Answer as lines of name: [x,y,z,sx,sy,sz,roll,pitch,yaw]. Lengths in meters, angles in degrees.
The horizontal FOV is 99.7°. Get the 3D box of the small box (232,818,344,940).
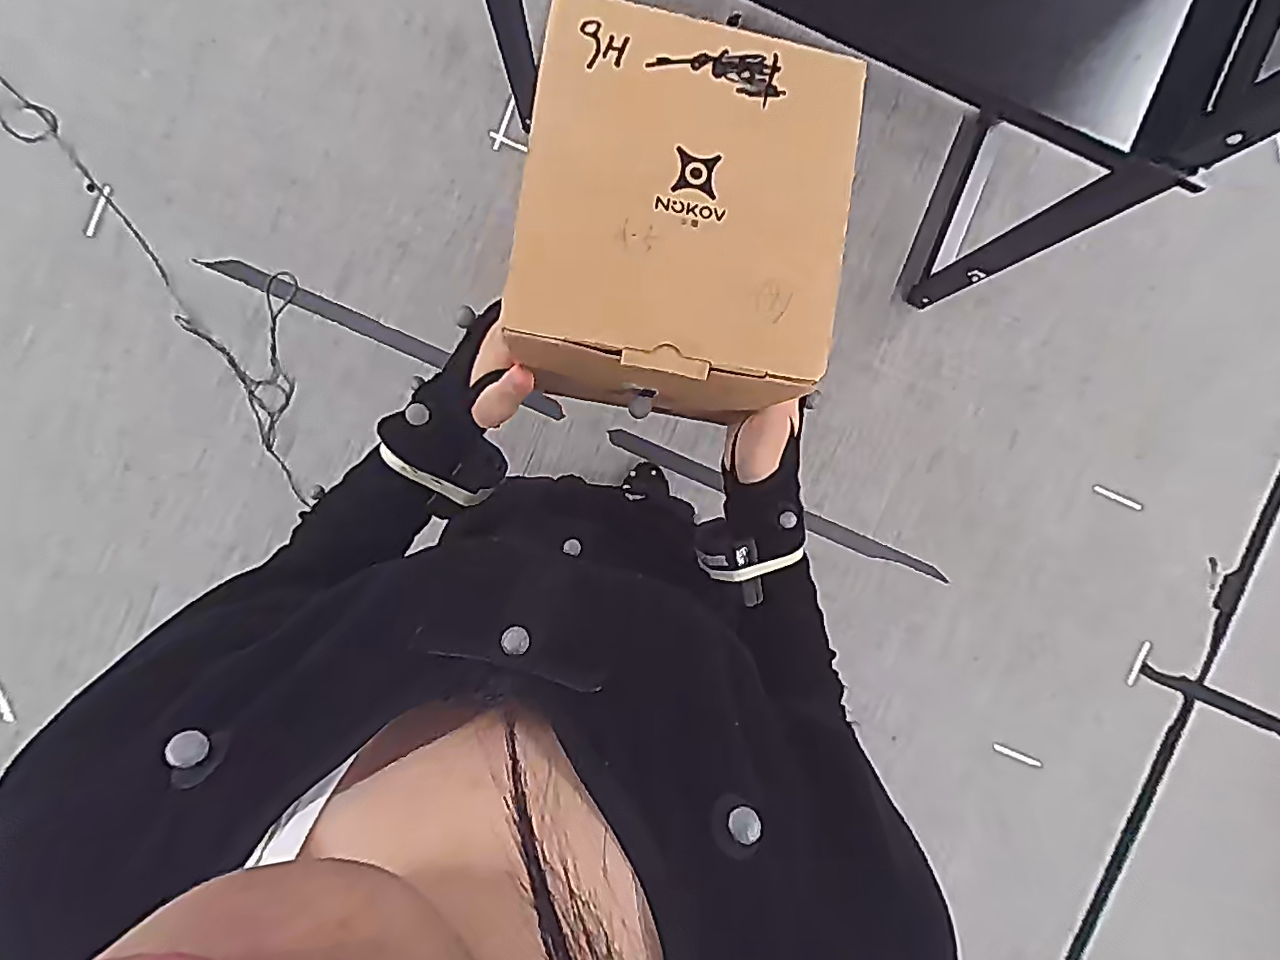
small box: [-0.905,1.029,1.410,0.168,0.176,0.179,17,92,-3]

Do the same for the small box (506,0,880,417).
small box: [0.020,-0.142,0.344,0.168,0.176,0.179,9,89,-8]
